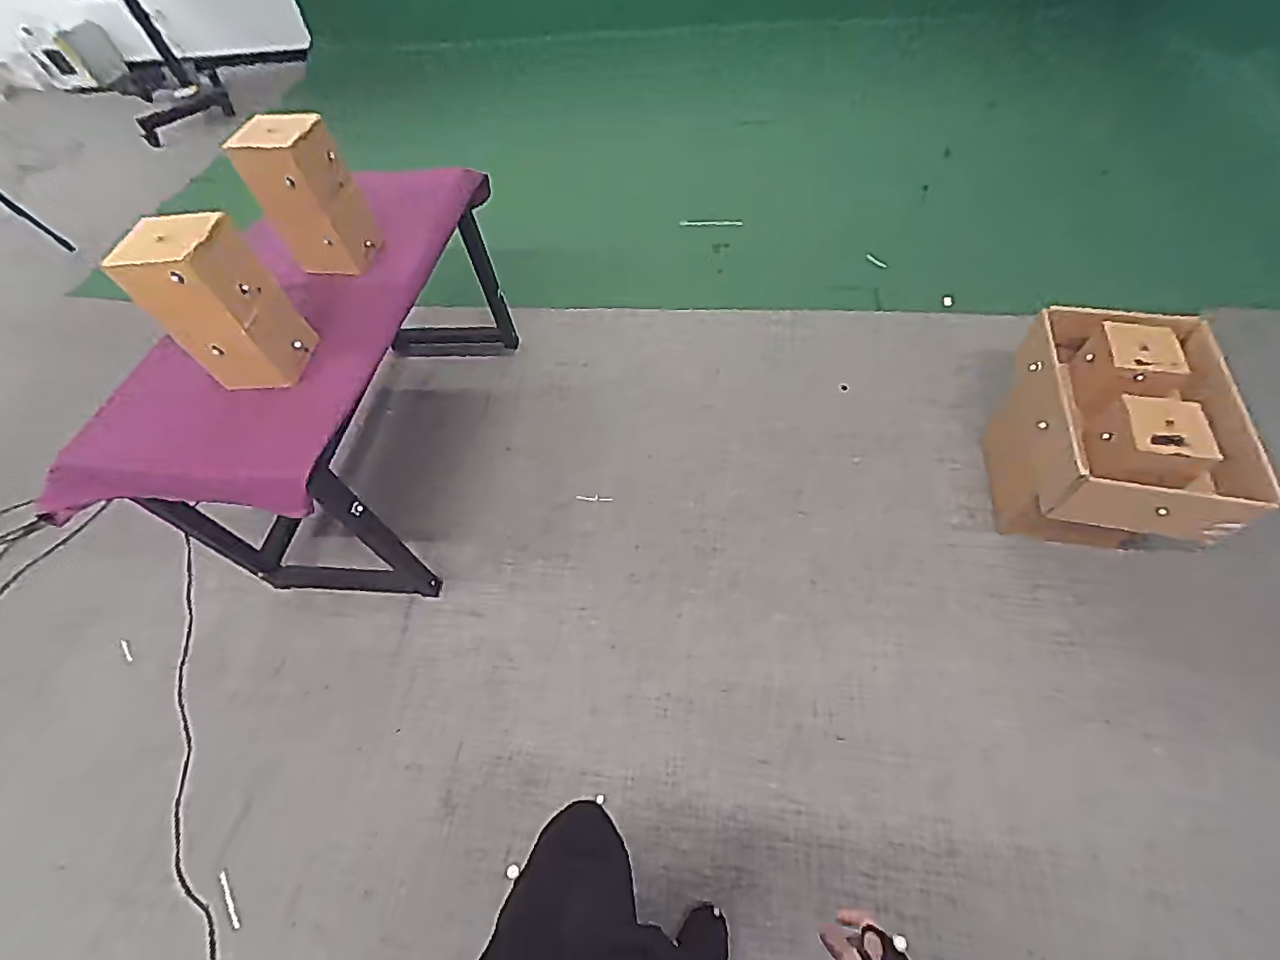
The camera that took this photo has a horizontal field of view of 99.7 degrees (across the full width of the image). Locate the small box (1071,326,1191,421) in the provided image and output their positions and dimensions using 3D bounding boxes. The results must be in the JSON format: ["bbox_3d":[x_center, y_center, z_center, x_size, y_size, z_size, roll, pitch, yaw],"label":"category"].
[{"bbox_3d":[1.311,-0.287,1.461,0.168,0.176,0.179,10,57,11],"label":"small box"}]

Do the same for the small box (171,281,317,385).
[{"bbox_3d":[-0.891,-0.330,1.236,0.179,0.176,0.168,0,57,5],"label":"small box"}]

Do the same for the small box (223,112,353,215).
[{"bbox_3d":[-0.854,-0.777,1.335,0.179,0.176,0.168,5,57,9],"label":"small box"}]

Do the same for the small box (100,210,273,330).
[{"bbox_3d":[-0.908,-0.423,1.104,0.179,0.176,0.168,-2,56,4],"label":"small box"}]
